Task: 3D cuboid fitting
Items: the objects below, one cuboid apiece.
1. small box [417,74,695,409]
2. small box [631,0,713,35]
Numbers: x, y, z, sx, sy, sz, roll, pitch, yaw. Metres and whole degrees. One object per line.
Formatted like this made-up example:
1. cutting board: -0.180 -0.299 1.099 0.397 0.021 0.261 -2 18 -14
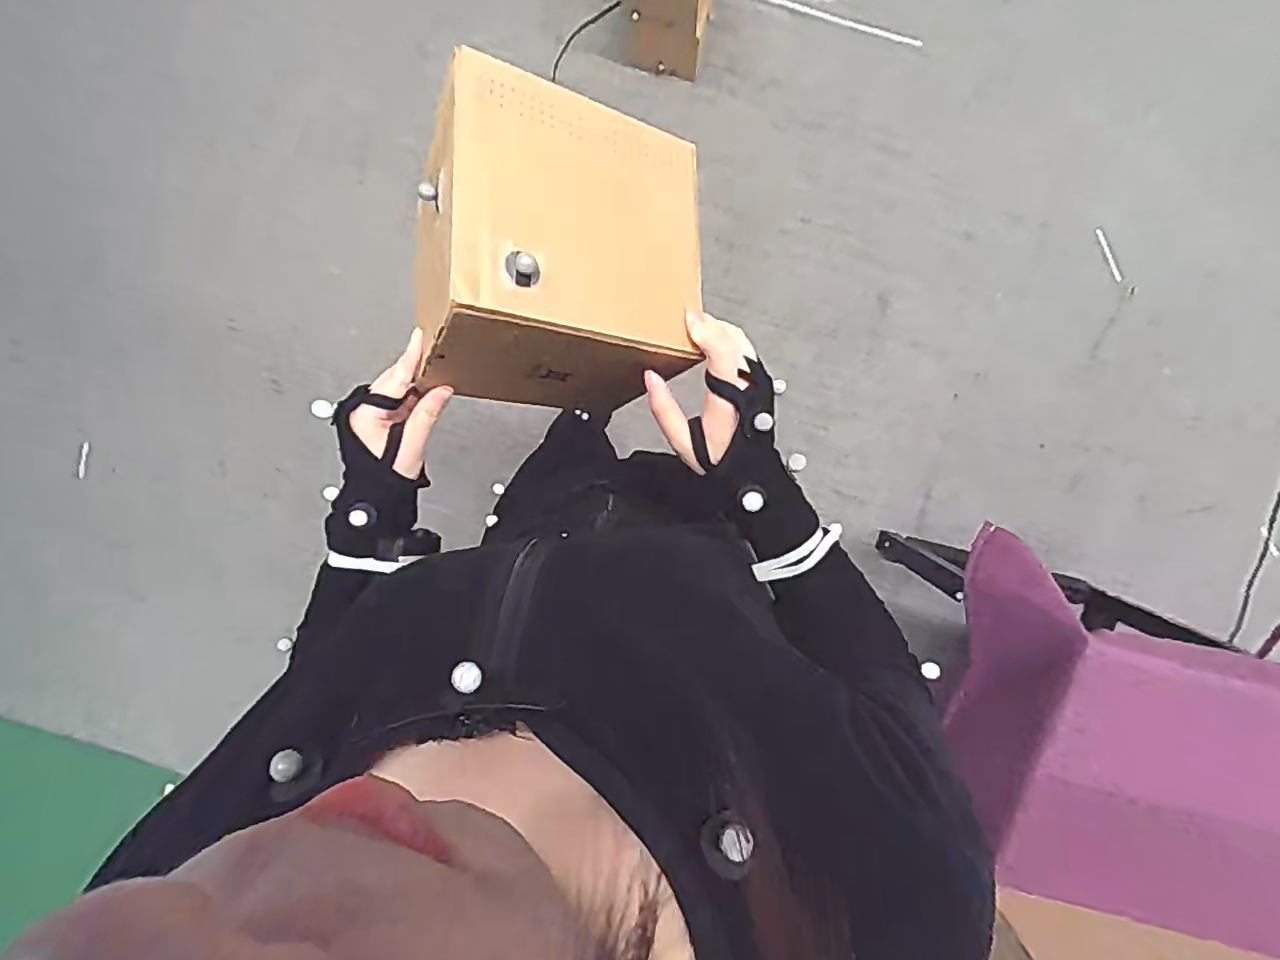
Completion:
1. small box: -0.071 -0.168 0.433 0.179 0.168 0.176 6 79 -27
2. small box: 0.075 -1.041 1.074 0.168 0.176 0.179 14 99 1
